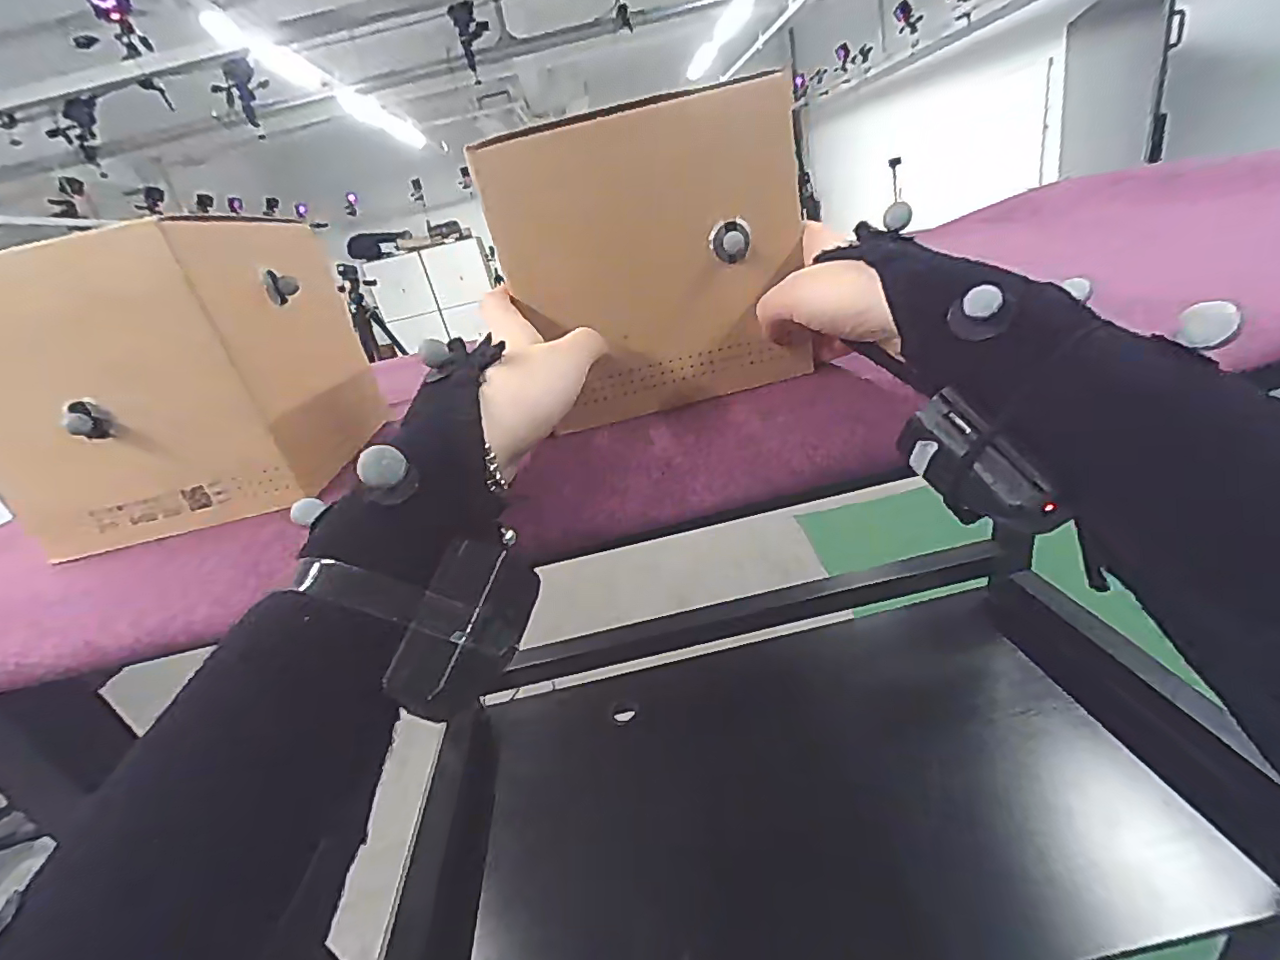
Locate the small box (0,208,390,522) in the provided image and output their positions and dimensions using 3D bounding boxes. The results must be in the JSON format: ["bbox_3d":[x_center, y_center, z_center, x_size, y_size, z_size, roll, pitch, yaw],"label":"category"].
[{"bbox_3d":[-0.306,-0.082,0.385,0.168,0.176,0.179,-12,25,-2],"label":"small box"}]

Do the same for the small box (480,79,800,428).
[{"bbox_3d":[0.007,-0.155,0.395,0.179,0.176,0.168,-15,24,-1],"label":"small box"}]
